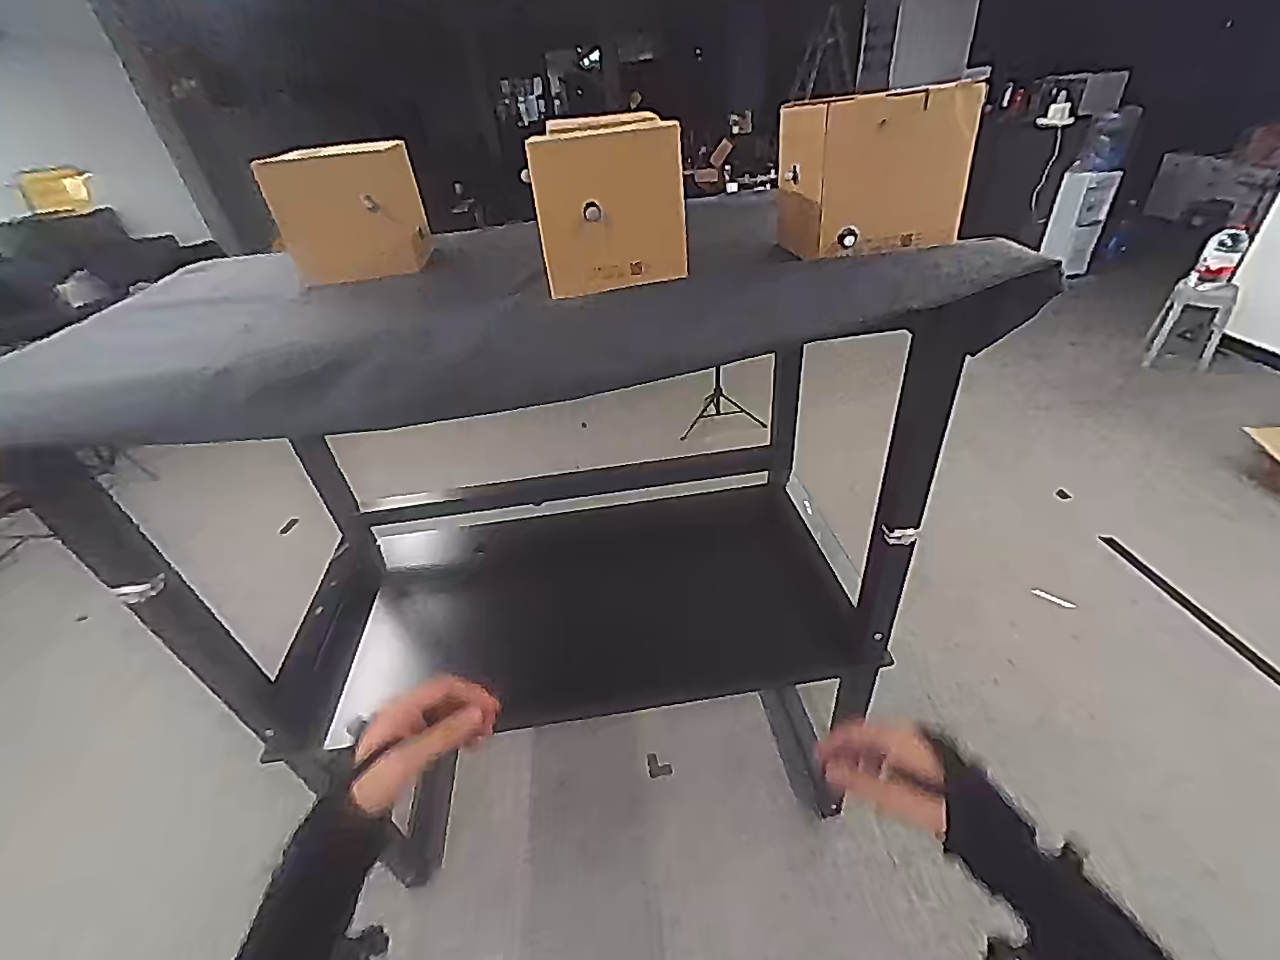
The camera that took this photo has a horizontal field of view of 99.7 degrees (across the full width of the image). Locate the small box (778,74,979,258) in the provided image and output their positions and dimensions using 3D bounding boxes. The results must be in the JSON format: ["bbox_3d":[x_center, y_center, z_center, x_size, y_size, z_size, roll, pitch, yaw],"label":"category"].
[{"bbox_3d":[0.275,-0.380,0.670,0.168,0.176,0.179,-7,32,0],"label":"small box"}]

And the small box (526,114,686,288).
[{"bbox_3d":[-0.039,-0.348,0.680,0.168,0.176,0.179,-8,34,-2],"label":"small box"}]

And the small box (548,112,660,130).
[{"bbox_3d":[-0.054,-0.495,0.888,0.168,0.176,0.179,-9,35,-3],"label":"small box"}]
